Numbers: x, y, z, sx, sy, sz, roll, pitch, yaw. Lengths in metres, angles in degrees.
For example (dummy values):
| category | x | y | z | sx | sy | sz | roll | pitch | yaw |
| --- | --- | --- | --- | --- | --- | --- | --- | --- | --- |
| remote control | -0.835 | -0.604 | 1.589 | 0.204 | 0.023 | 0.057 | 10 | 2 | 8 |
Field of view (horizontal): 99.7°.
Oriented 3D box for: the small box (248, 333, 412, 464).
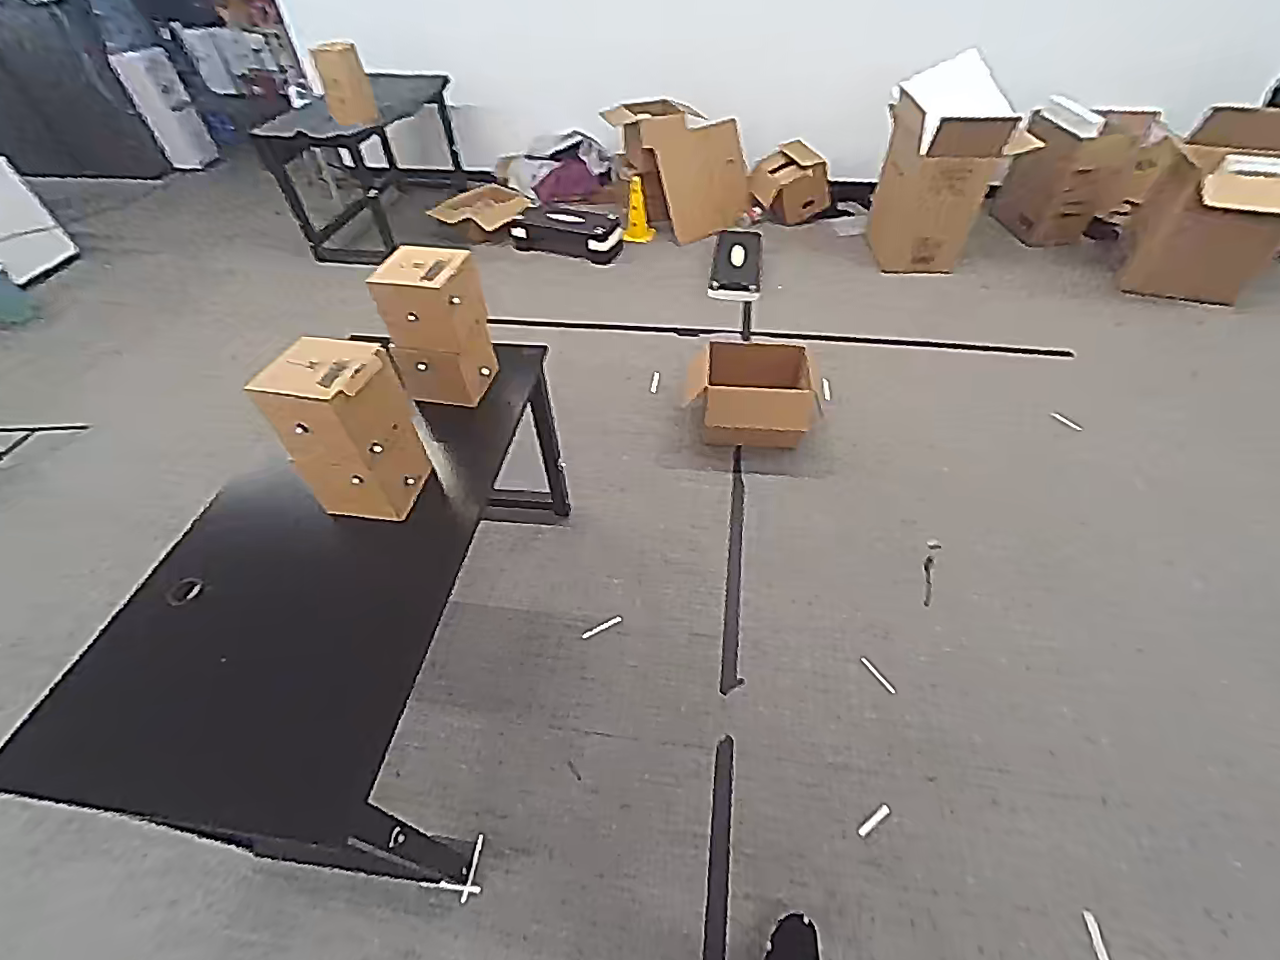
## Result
| category | x | y | z | sx | sy | sz | roll | pitch | yaw |
| --- | --- | --- | --- | --- | --- | --- | --- | --- | --- |
| small box | -0.564 | -0.149 | 1.015 | 0.179 | 0.176 | 0.168 | 9 | 49 | 10 |

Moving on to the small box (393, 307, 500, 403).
| category | x | y | z | sx | sy | sz | roll | pitch | yaw |
| --- | --- | --- | --- | --- | --- | --- | --- | --- | --- |
| small box | -0.480 | -0.314 | 1.371 | 0.179 | 0.176 | 0.168 | 9 | 51 | 10 |

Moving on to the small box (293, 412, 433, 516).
| category | x | y | z | sx | sy | sz | roll | pitch | yaw |
| --- | --- | --- | --- | --- | --- | --- | --- | --- | --- |
| small box | -0.568 | -0.041 | 1.138 | 0.179 | 0.176 | 0.168 | 6 | 49 | 7 |
